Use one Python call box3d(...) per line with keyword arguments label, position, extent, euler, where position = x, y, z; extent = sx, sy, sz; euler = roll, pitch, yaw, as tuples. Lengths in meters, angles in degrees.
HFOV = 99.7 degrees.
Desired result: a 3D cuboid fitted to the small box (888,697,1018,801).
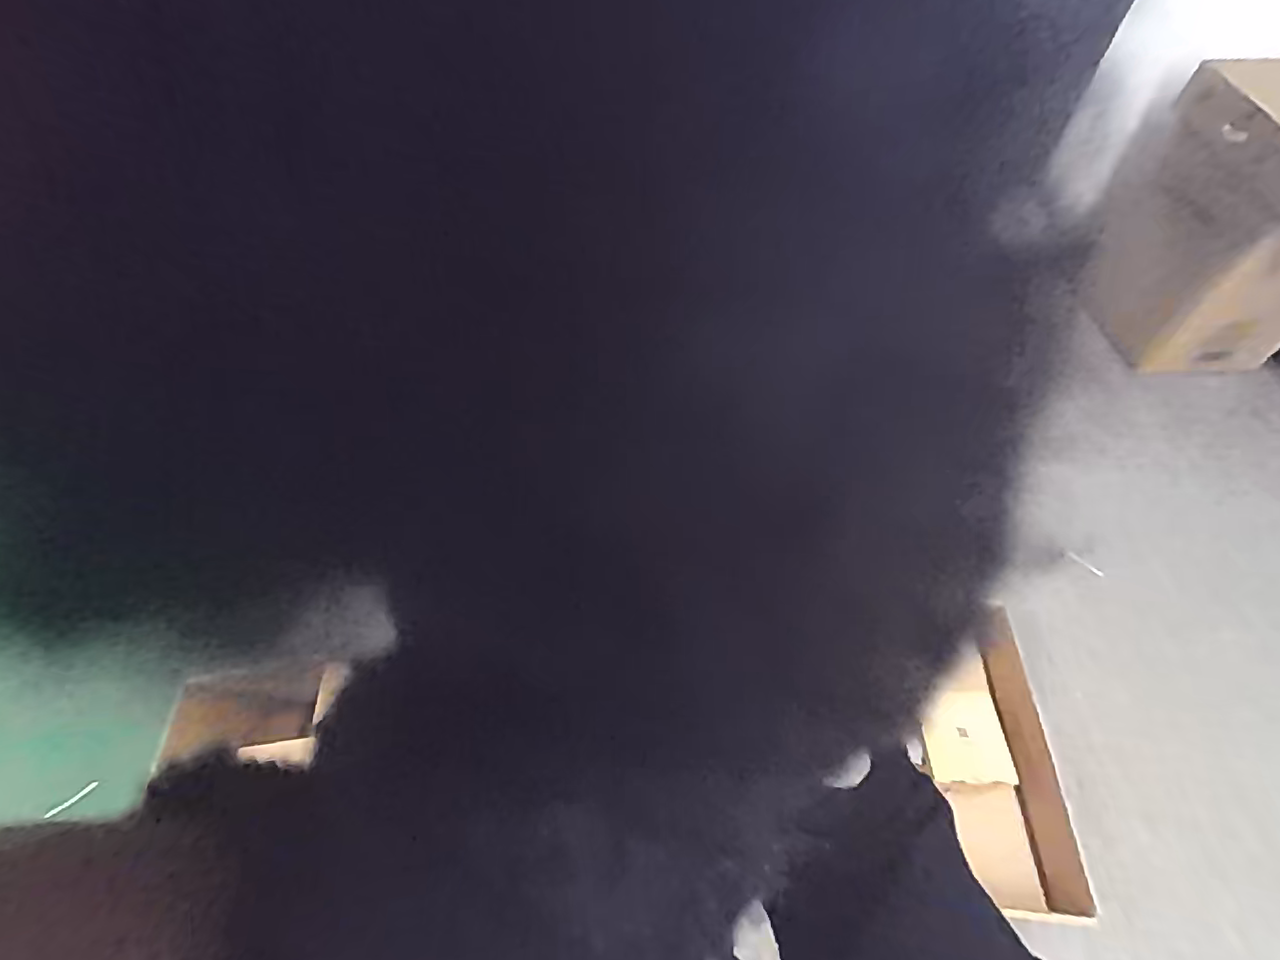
box3d(label="small box", position=(0.663, 0.585, 1.174), extent=(0.168, 0.176, 0.179), euler=(0, 54, 2))
